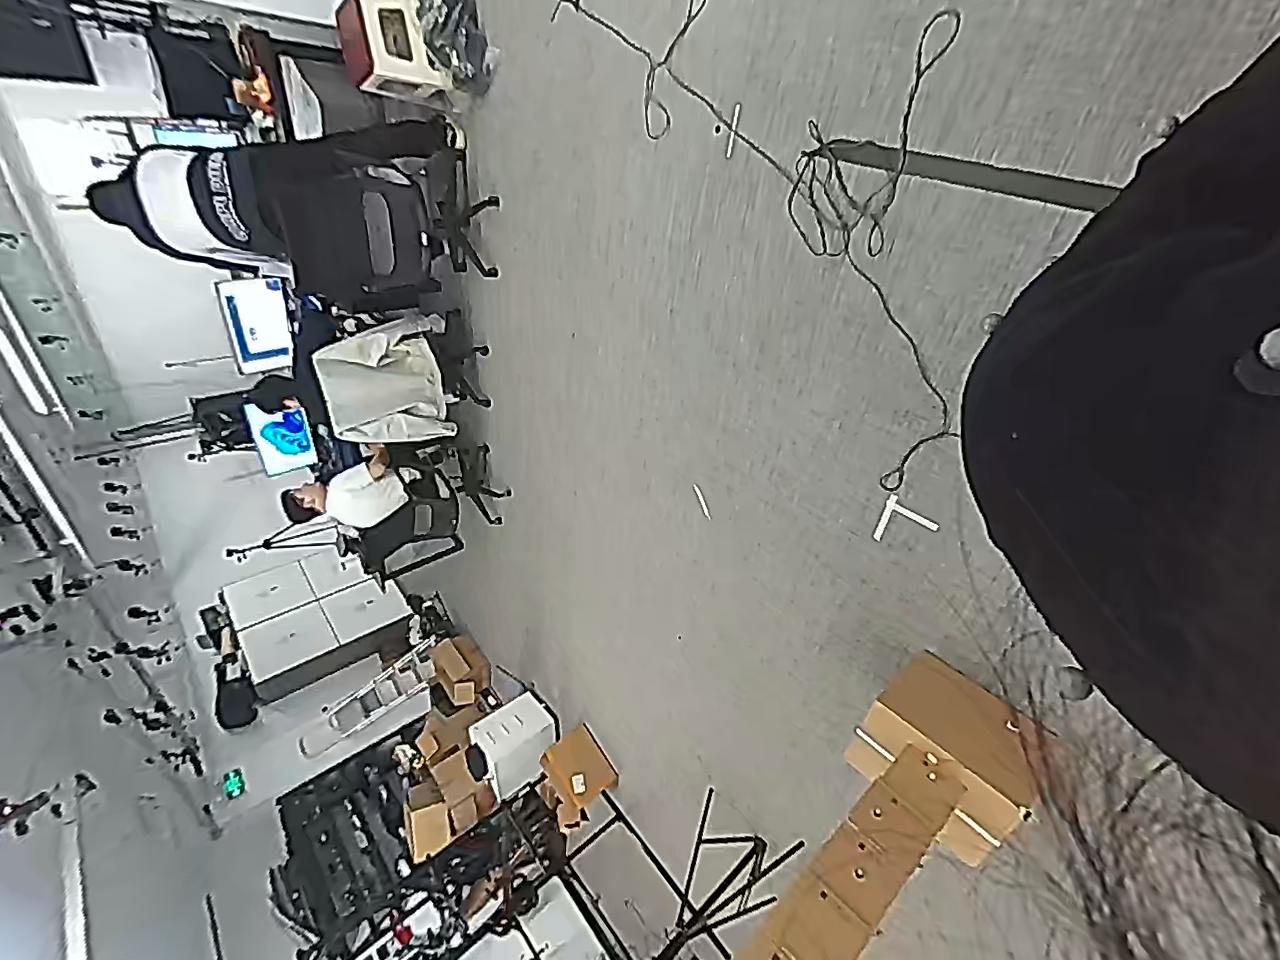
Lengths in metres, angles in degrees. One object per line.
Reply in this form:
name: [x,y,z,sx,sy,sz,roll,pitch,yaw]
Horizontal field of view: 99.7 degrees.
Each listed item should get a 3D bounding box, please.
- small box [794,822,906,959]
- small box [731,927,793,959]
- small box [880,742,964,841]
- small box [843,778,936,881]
small box: [0.488,0.950,1.256,0.168,0.176,0.179,31,129,41]
small box: [0.242,1.045,1.060,0.168,0.176,0.179,27,126,43]
small box: [0.732,0.854,1.450,0.168,0.176,0.179,35,132,36]
small box: [0.609,0.896,1.354,0.168,0.176,0.179,34,133,38]
